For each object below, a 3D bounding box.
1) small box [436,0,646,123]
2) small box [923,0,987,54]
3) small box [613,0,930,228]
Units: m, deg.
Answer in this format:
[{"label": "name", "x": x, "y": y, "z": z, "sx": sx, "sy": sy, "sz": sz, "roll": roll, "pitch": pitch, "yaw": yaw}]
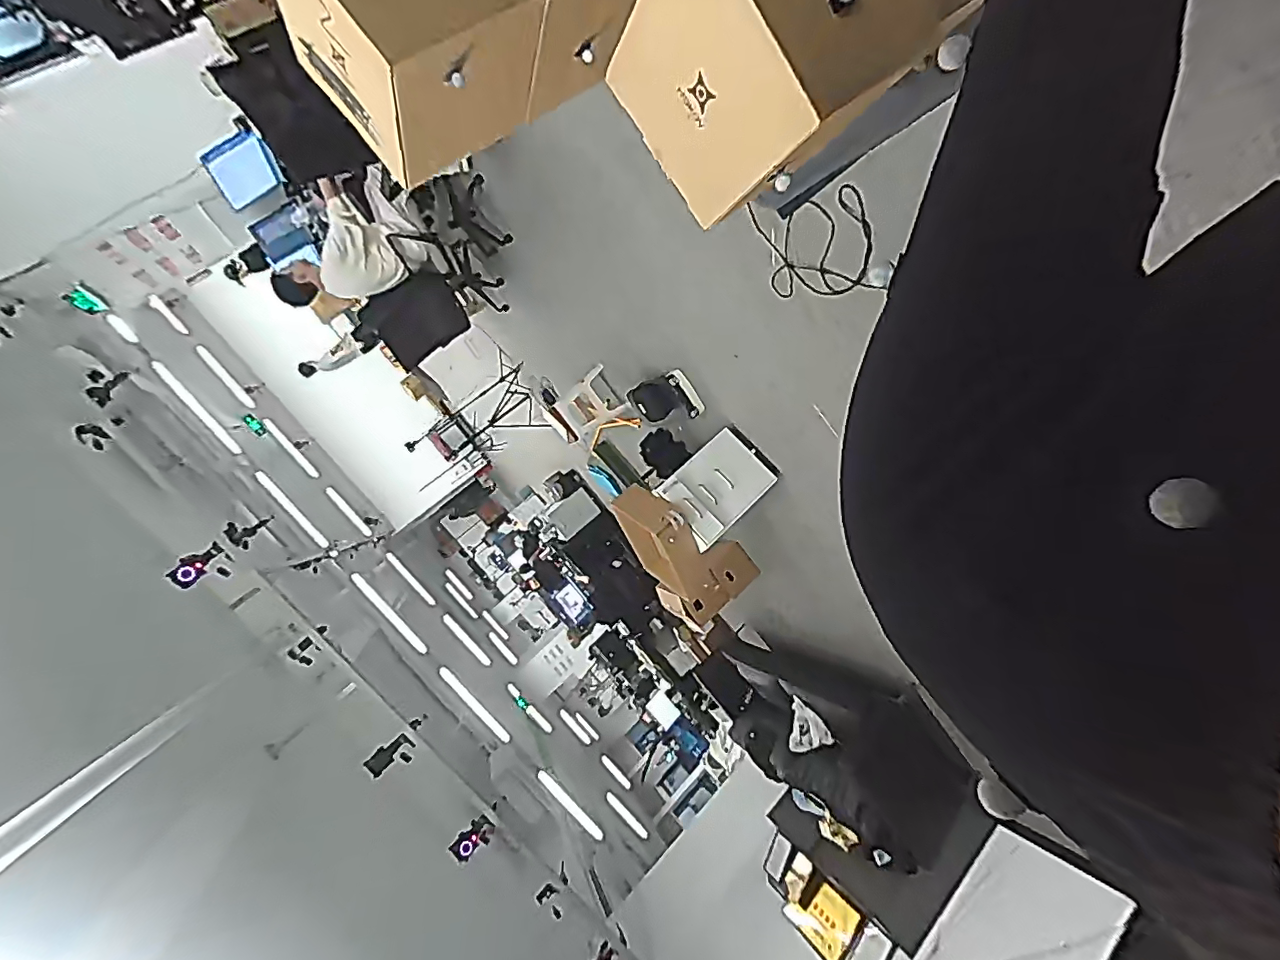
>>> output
[{"label": "small box", "x": -0.099, "y": -0.550, "z": 0.582, "sx": 0.168, "sy": 0.176, "sz": 0.179, "roll": 50, "pitch": 164, "yaw": -9}, {"label": "small box", "x": 0.217, "y": -0.478, "z": 0.515, "sx": 0.168, "sy": 0.176, "sz": 0.179, "roll": 53, "pitch": 163, "yaw": -13}, {"label": "small box", "x": 0.111, "y": -0.365, "z": 0.464, "sx": 0.168, "sy": 0.176, "sz": 0.179, "roll": 52, "pitch": 163, "yaw": -13}]
